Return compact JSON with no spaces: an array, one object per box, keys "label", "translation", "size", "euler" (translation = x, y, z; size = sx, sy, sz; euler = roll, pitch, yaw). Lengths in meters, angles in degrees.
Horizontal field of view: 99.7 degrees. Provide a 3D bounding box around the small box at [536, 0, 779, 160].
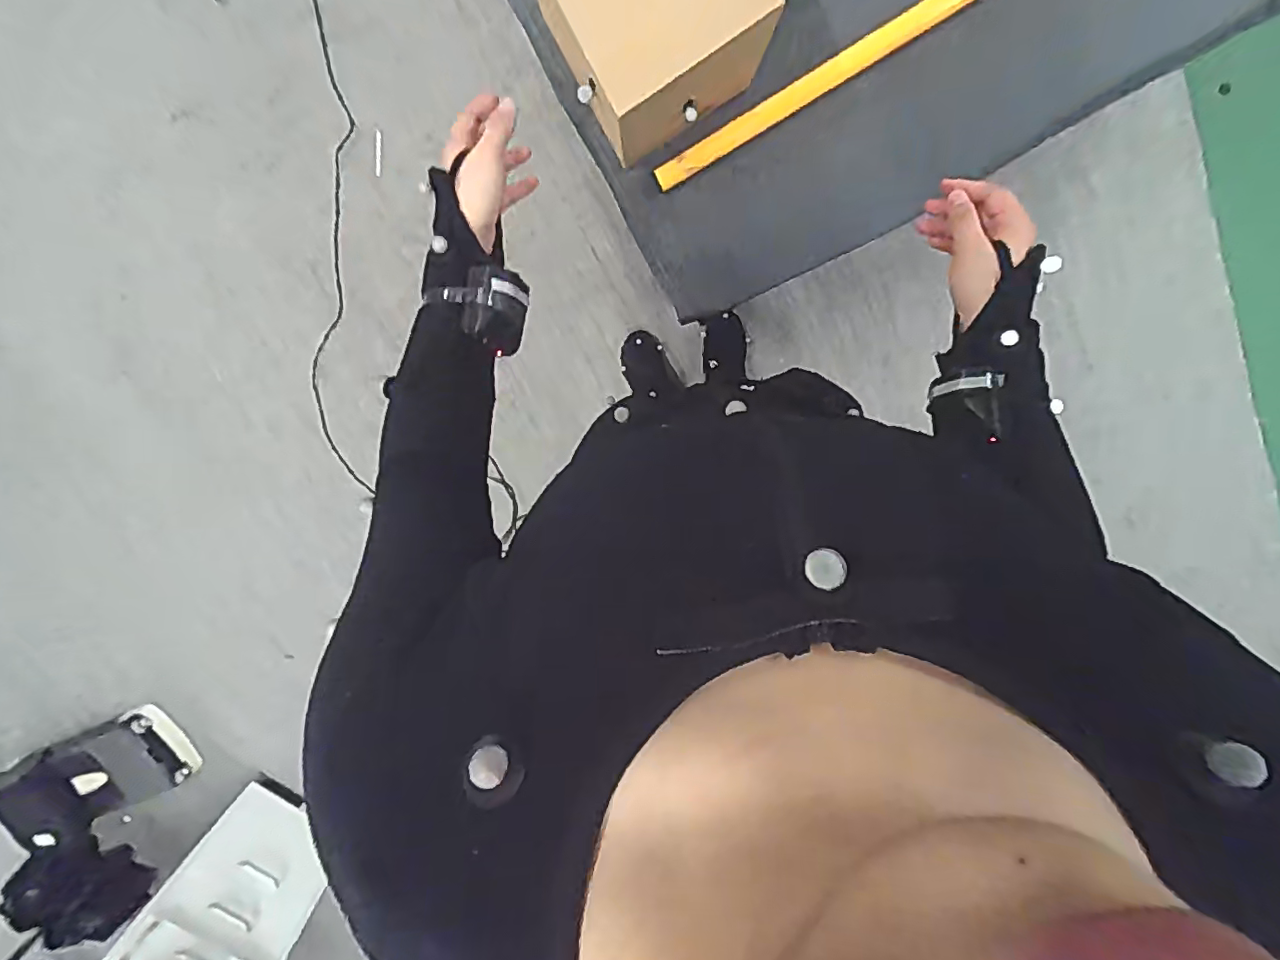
[{"label":"small box","translation":[0.008,-0.444,0.522],"size":[0.168,0.176,0.179],"euler":[-30,103,8]}]
